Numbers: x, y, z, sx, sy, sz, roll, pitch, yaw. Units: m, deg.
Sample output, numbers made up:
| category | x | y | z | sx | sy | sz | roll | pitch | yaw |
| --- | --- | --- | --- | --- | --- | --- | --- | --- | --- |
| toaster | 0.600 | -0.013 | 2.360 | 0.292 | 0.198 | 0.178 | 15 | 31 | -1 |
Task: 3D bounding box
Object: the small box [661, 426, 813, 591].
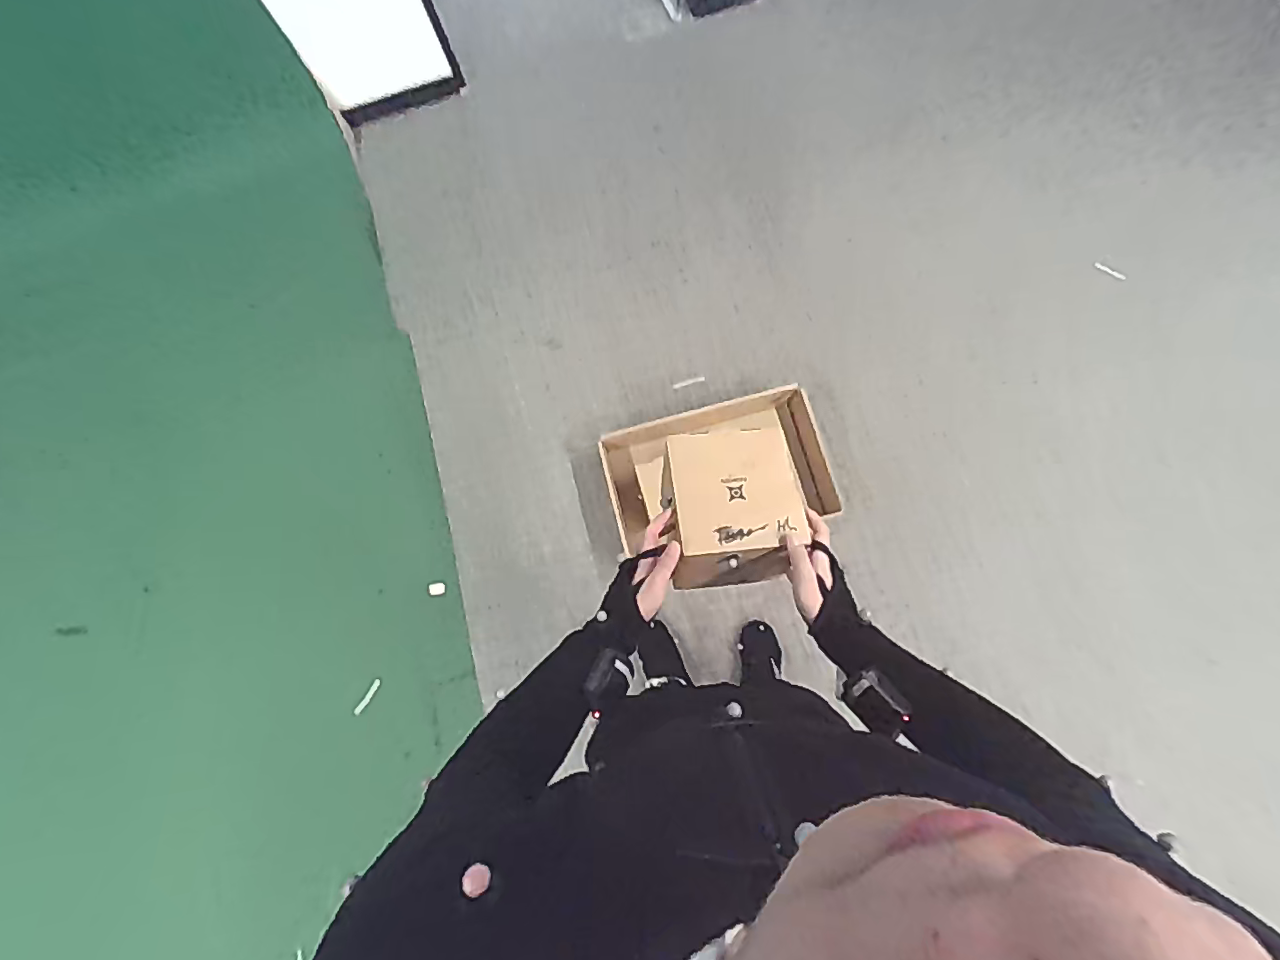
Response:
| category | x | y | z | sx | sy | sz | roll | pitch | yaw |
| --- | --- | --- | --- | --- | --- | --- | --- | --- | --- |
| small box | 0.122 | 0.045 | 0.770 | 0.168 | 0.176 | 0.179 | -5 | 63 | -3 |
